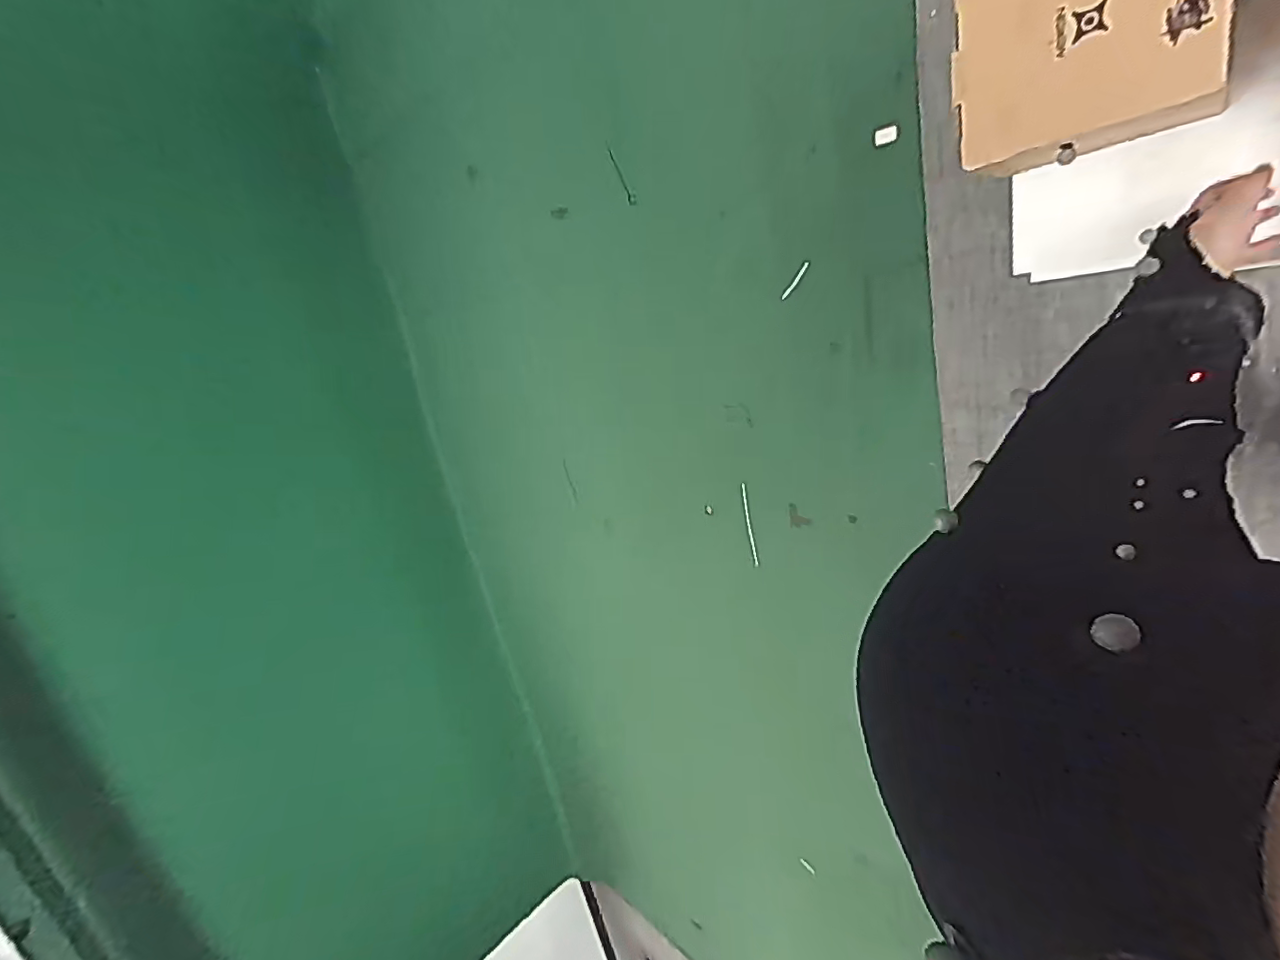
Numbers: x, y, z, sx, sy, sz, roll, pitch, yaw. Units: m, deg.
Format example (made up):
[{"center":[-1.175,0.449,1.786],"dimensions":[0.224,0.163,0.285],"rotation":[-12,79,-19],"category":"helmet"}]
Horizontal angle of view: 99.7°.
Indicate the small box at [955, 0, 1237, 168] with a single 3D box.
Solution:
[{"center":[0.411,-0.401,0.491],"dimensions":[0.179,0.176,0.168],"rotation":[5,113,46],"category":"small box"}]
